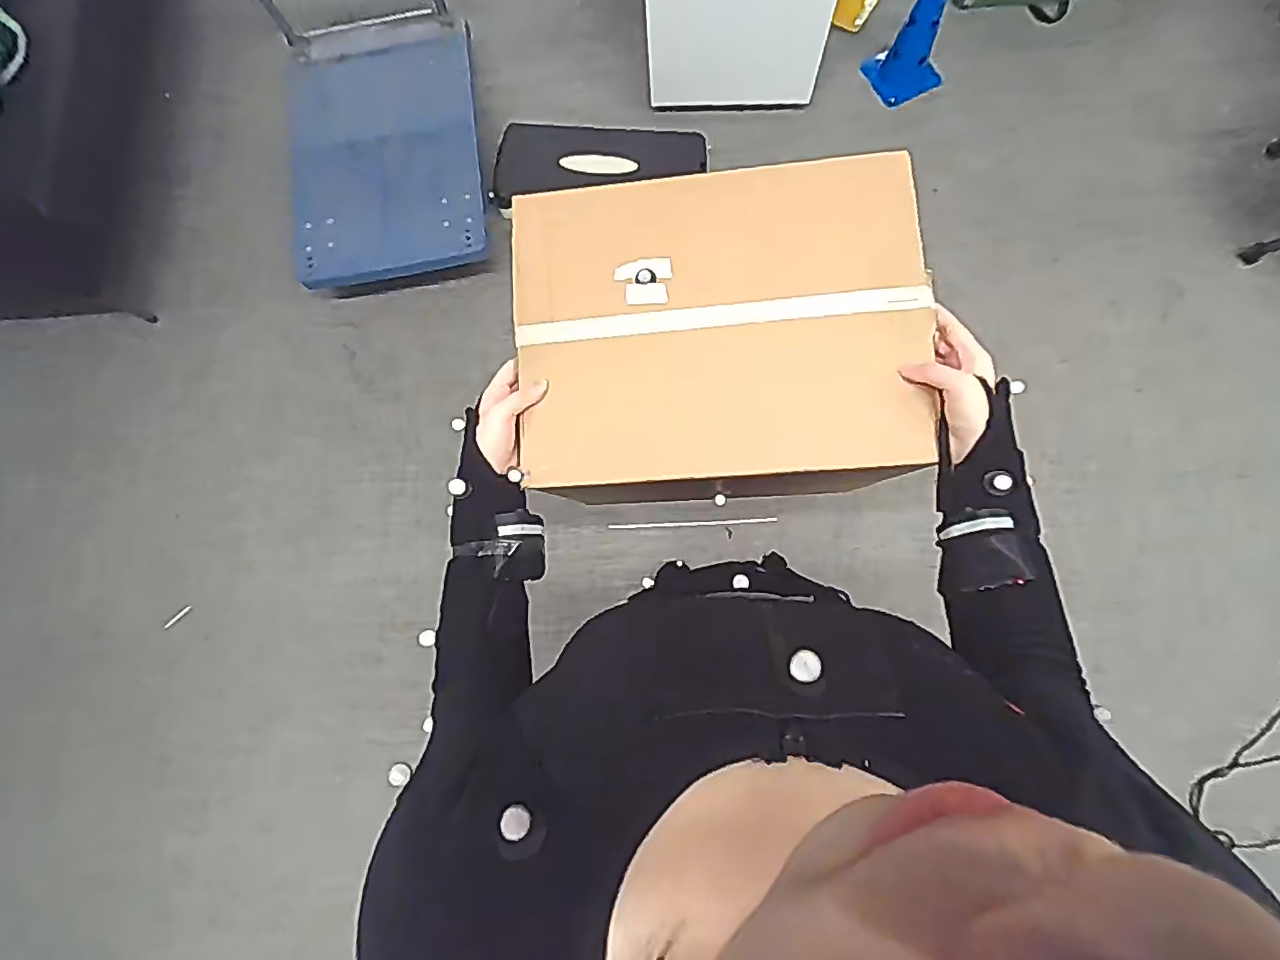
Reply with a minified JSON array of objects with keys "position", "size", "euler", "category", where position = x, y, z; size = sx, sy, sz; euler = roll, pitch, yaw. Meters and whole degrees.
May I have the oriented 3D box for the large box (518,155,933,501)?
[{"position":[0.093,-0.145,0.696],"size":[0.408,0.320,0.320],"euler":[-4,83,7],"category":"large box"}]
